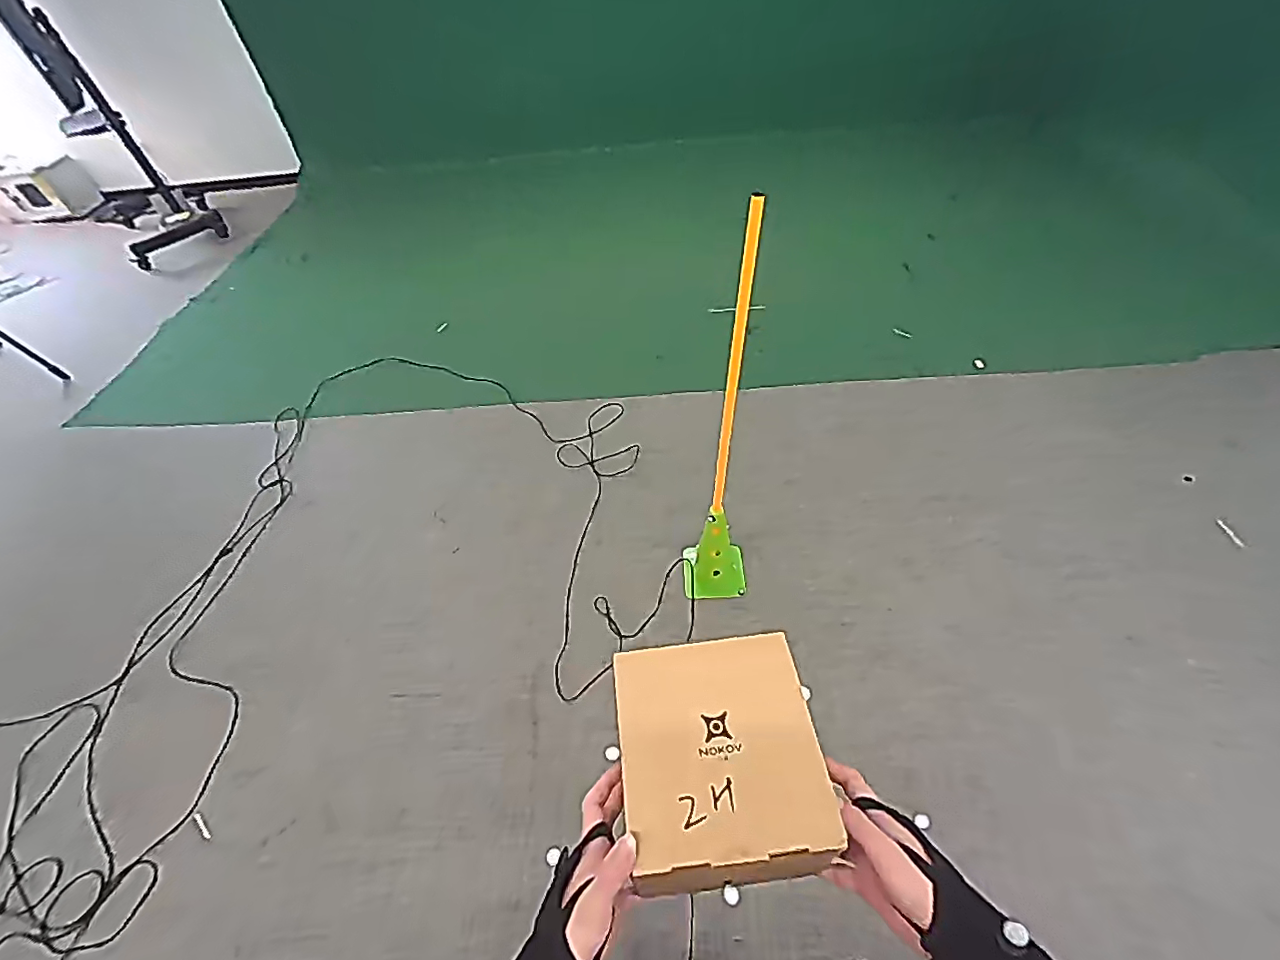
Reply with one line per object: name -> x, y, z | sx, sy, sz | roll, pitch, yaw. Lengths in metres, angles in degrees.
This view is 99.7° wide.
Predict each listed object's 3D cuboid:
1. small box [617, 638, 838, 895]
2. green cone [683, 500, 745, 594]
small box -> 0.067, 0.277, 0.522 | 0.168, 0.176, 0.179 | -6, 48, -1
green cone -> 0.235, 0.187, 1.721 | 0.202, 0.368, 0.200 | -3, 49, 4
